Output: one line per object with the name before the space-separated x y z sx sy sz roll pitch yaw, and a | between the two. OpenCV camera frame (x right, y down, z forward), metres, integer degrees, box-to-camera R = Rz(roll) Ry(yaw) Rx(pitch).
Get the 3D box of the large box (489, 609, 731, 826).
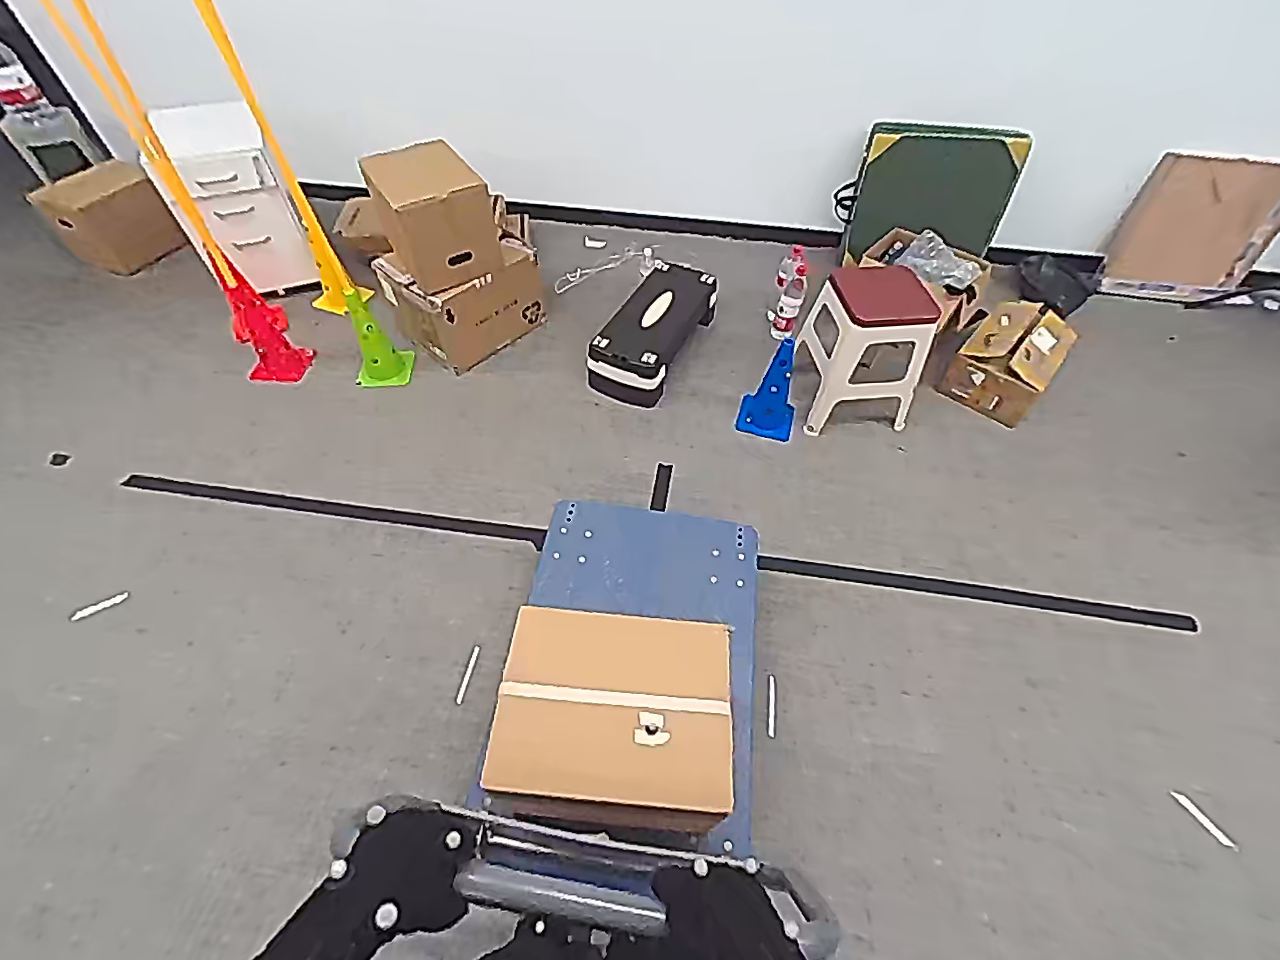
large box | -0.049 0.480 1.080 0.408 0.320 0.320 6 53 0
